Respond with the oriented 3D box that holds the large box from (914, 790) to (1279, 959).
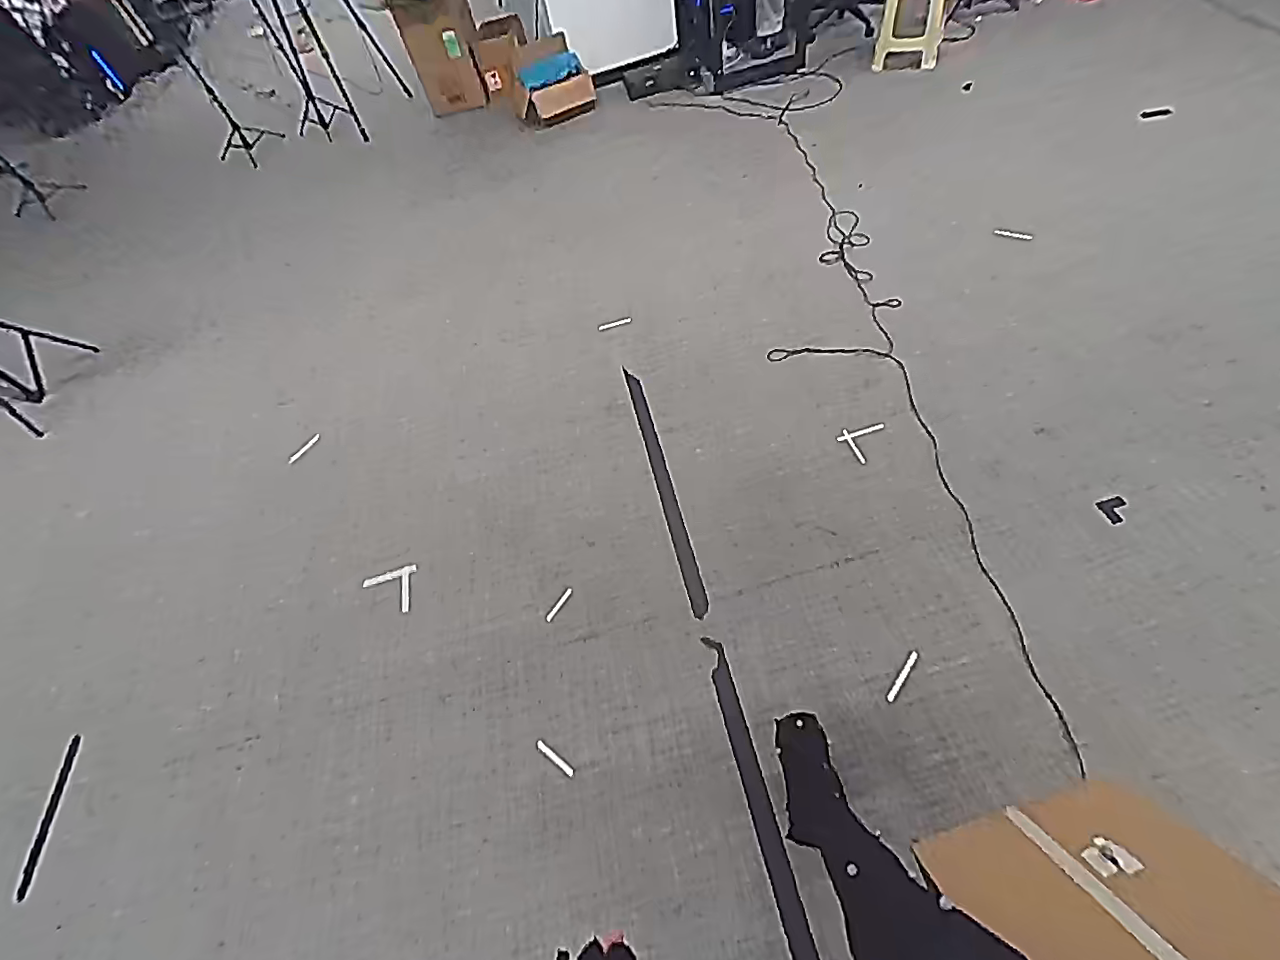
[{"bbox_3d":[0.602,0.645,0.609,0.320,0.408,0.320,-19,86,1],"label":"large box"}]
